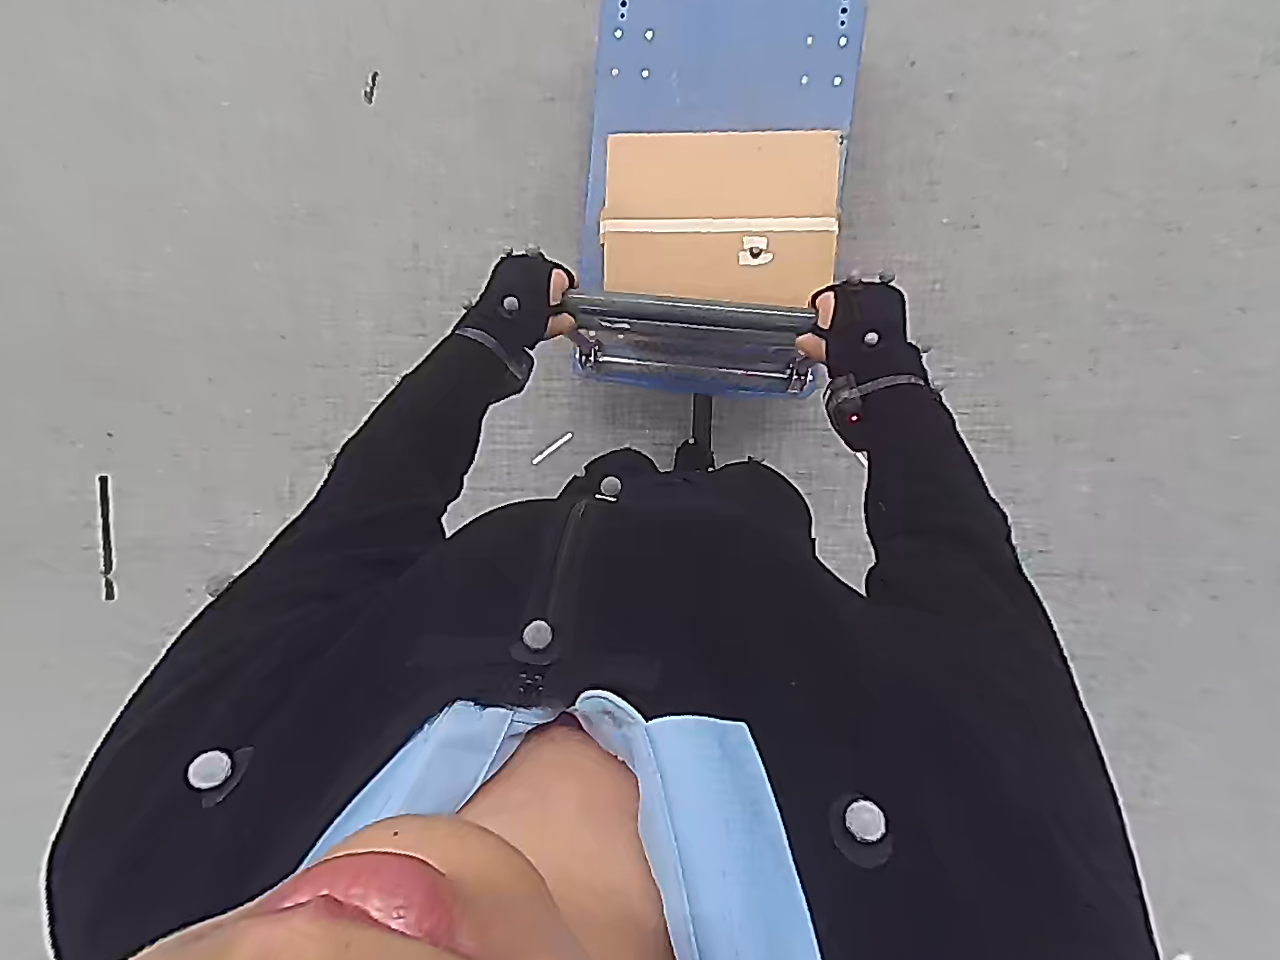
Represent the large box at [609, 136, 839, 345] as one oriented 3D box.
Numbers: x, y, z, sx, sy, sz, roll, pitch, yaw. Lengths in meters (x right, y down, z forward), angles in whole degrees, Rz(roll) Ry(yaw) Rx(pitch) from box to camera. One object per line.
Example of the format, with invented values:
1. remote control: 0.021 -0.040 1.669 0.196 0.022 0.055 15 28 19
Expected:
1. large box: 0.153 -0.457 1.107 0.408 0.320 0.320 2 96 4
